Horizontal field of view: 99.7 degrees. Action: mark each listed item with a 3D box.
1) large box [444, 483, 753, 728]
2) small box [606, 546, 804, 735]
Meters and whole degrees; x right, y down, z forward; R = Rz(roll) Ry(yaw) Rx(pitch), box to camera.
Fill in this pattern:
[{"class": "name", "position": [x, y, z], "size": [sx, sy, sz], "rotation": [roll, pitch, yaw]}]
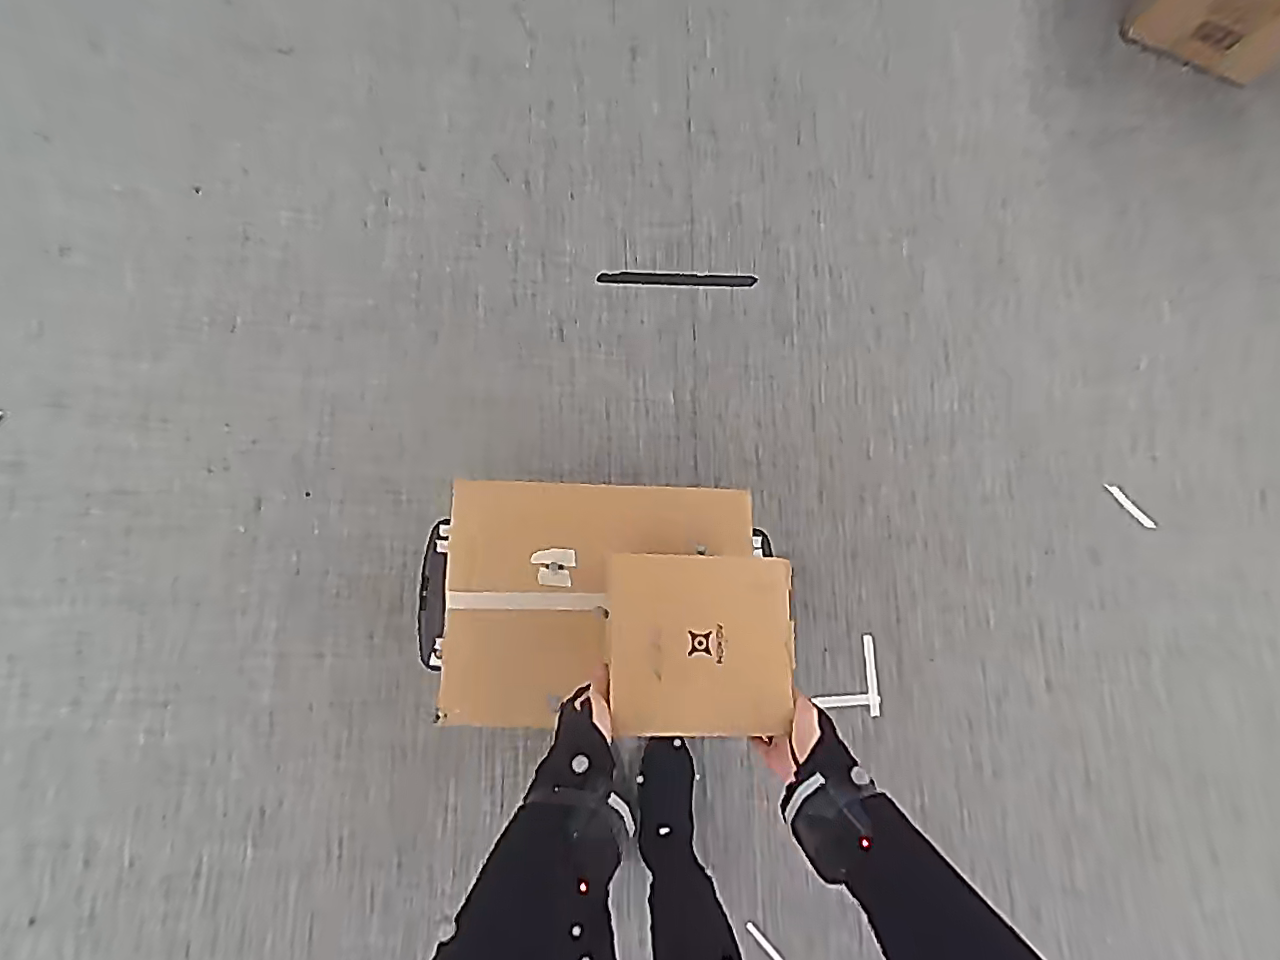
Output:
[{"class": "large box", "position": [-0.053, 0.181, 0.850], "size": [0.408, 0.320, 0.320], "rotation": [1, 80, -4]}, {"class": "small box", "position": [0.058, 0.159, 0.574], "size": [0.179, 0.176, 0.168], "rotation": [3, 79, -5]}]
